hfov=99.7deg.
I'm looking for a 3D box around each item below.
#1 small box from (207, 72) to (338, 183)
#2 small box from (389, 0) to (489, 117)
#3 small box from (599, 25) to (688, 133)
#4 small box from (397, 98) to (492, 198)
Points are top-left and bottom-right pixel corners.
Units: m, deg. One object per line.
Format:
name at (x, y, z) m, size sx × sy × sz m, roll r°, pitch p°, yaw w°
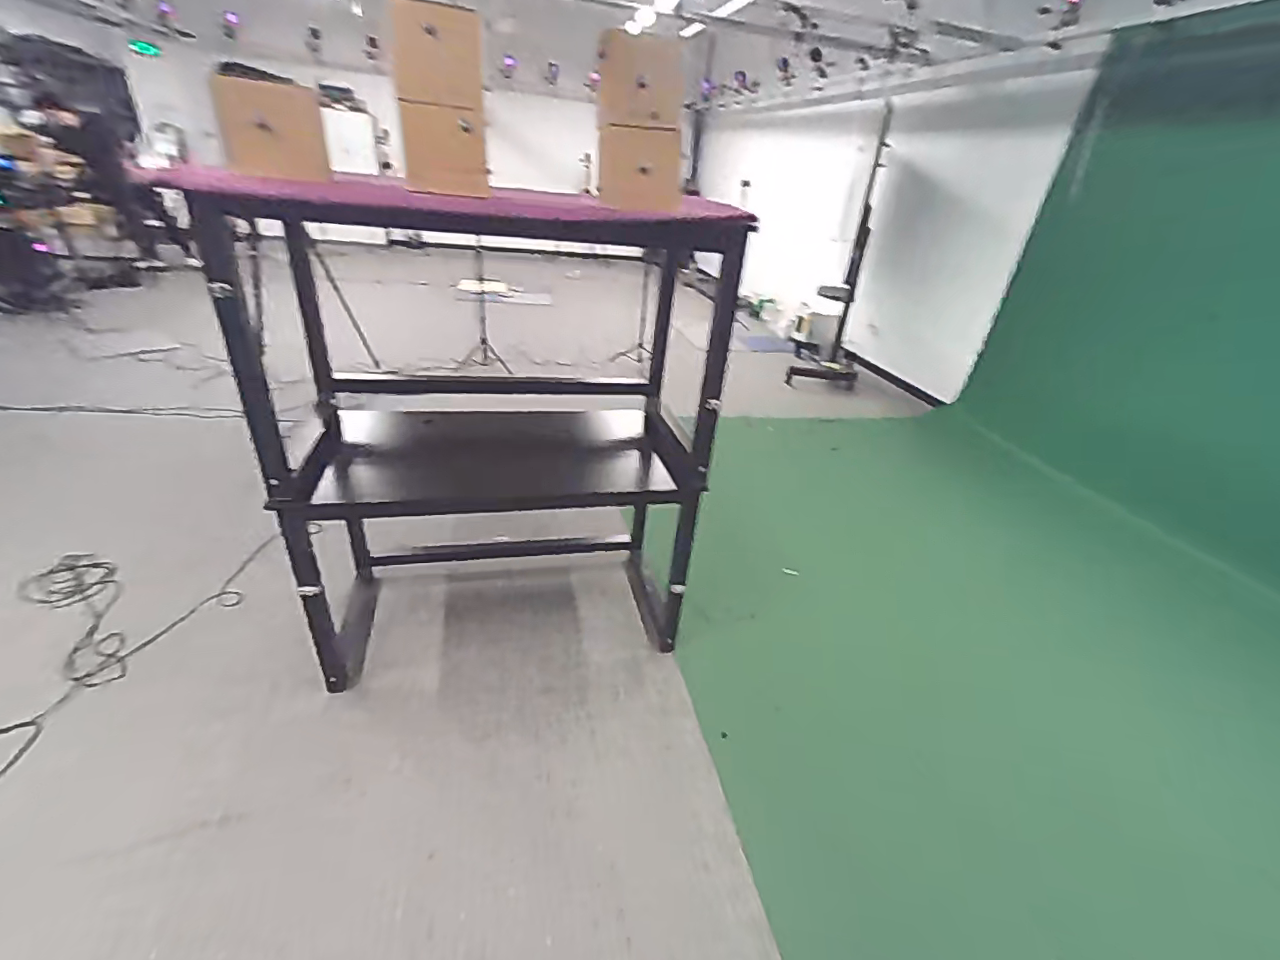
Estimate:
small box at (-0.736, -0.710, 1.103) m, size 0.179 × 0.176 × 0.168 m, roll -7°, pitch 34°, yaw -22°
small box at (-0.413, -0.880, 1.136) m, size 0.179 × 0.176 × 0.168 m, roll 0°, pitch 29°, yaw -14°
small box at (0.001, -0.876, 1.198) m, size 0.168 × 0.176 × 0.179 m, roll -3°, pitch 29°, yaw -12°
small box at (-0.428, -0.734, 1.210) m, size 0.179 × 0.176 × 0.168 m, roll -1°, pitch 29°, yaw -13°
